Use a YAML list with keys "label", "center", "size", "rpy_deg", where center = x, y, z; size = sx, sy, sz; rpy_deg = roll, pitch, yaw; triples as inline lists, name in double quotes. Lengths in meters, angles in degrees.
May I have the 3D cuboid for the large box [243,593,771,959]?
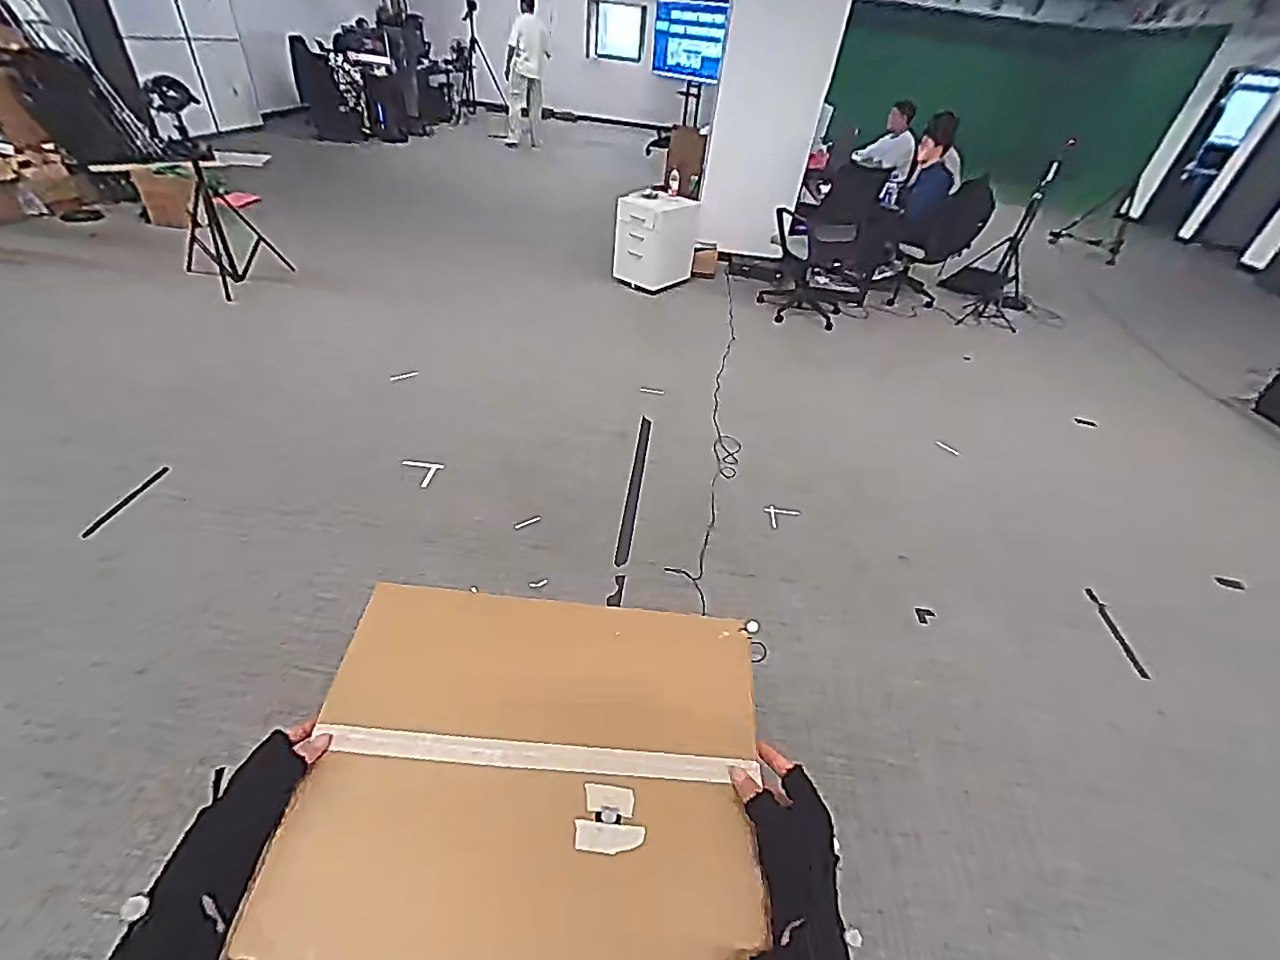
- label: "large box"
  center: [-0.108, 0.356, 0.611]
  size: [0.408, 0.320, 0.320]
  rpy_deg: [8, 49, -4]
